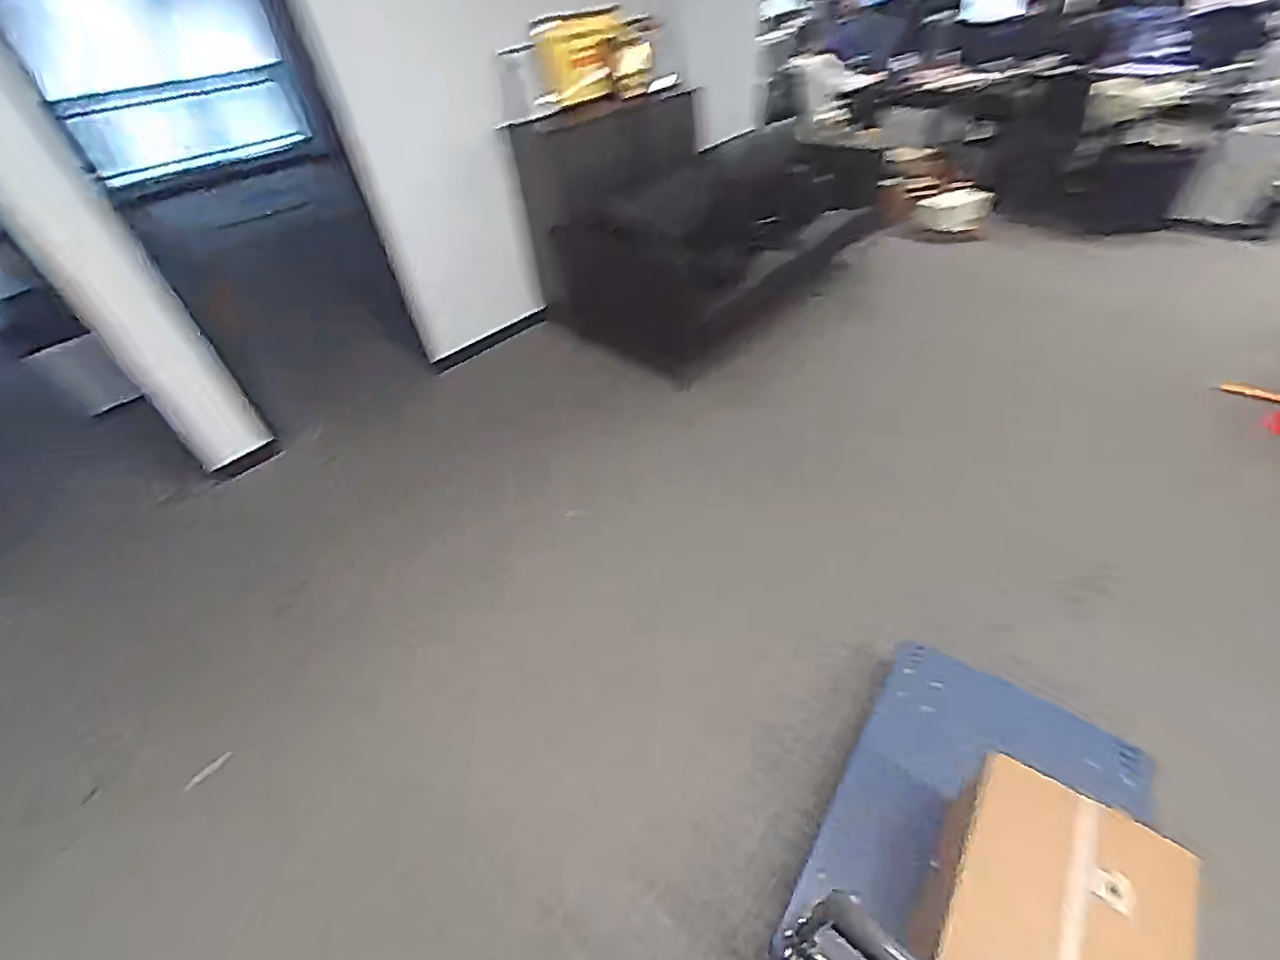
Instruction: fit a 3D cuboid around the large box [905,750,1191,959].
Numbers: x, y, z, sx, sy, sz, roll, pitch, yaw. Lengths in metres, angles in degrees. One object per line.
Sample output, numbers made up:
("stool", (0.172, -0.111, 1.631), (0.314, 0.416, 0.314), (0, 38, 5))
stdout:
("large box", (0.722, 0.813, 0.990), (0.320, 0.320, 0.408), (24, 51, 29))
